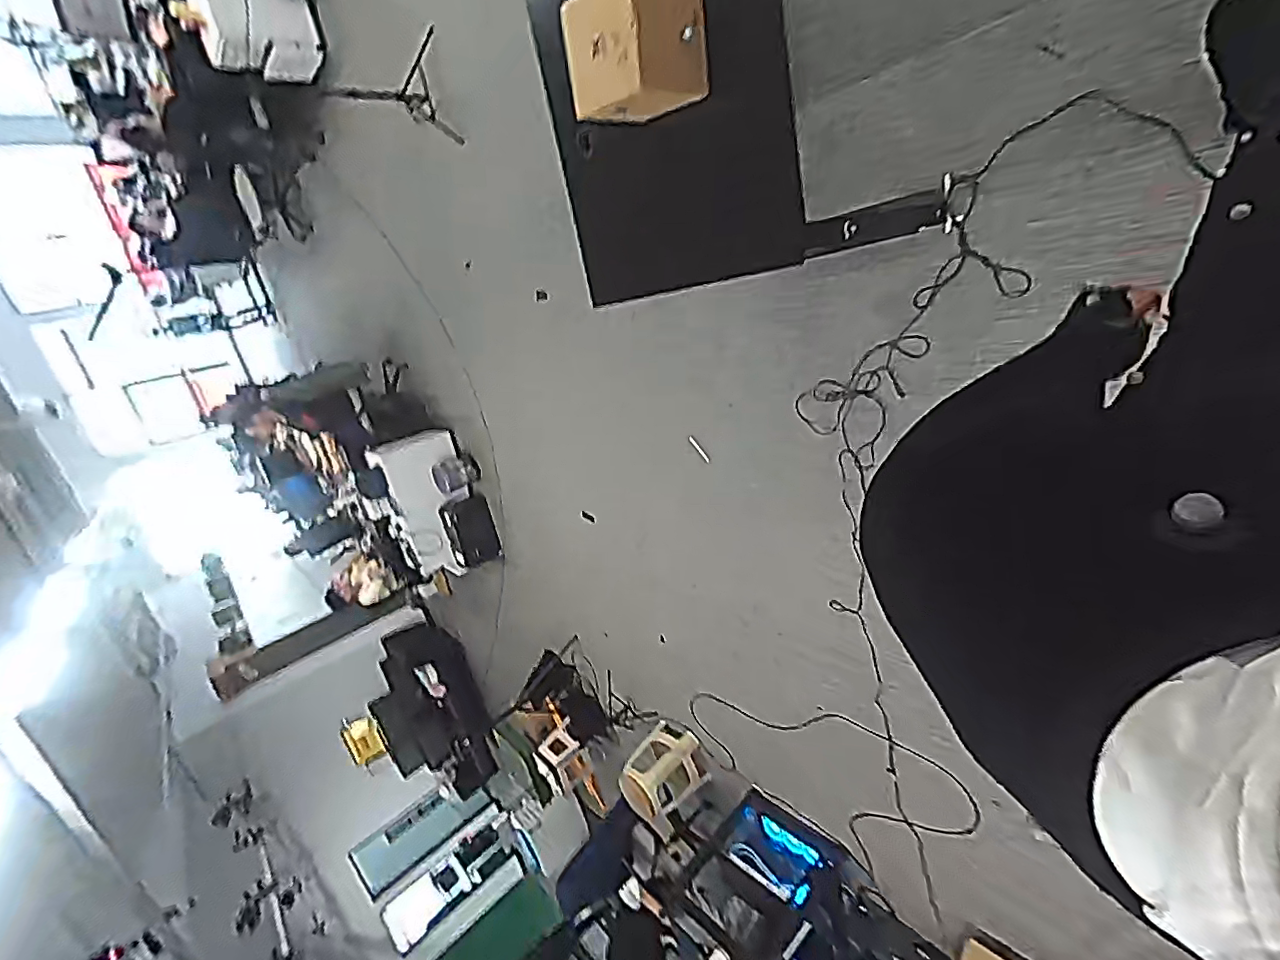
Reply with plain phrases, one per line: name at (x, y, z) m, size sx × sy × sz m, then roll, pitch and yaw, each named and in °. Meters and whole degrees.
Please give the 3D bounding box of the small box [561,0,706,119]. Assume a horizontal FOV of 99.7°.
small box at (-0.009, -0.741, 0.935) m, size 0.179 × 0.176 × 0.168 m, roll 17°, pitch 125°, yaw 45°
